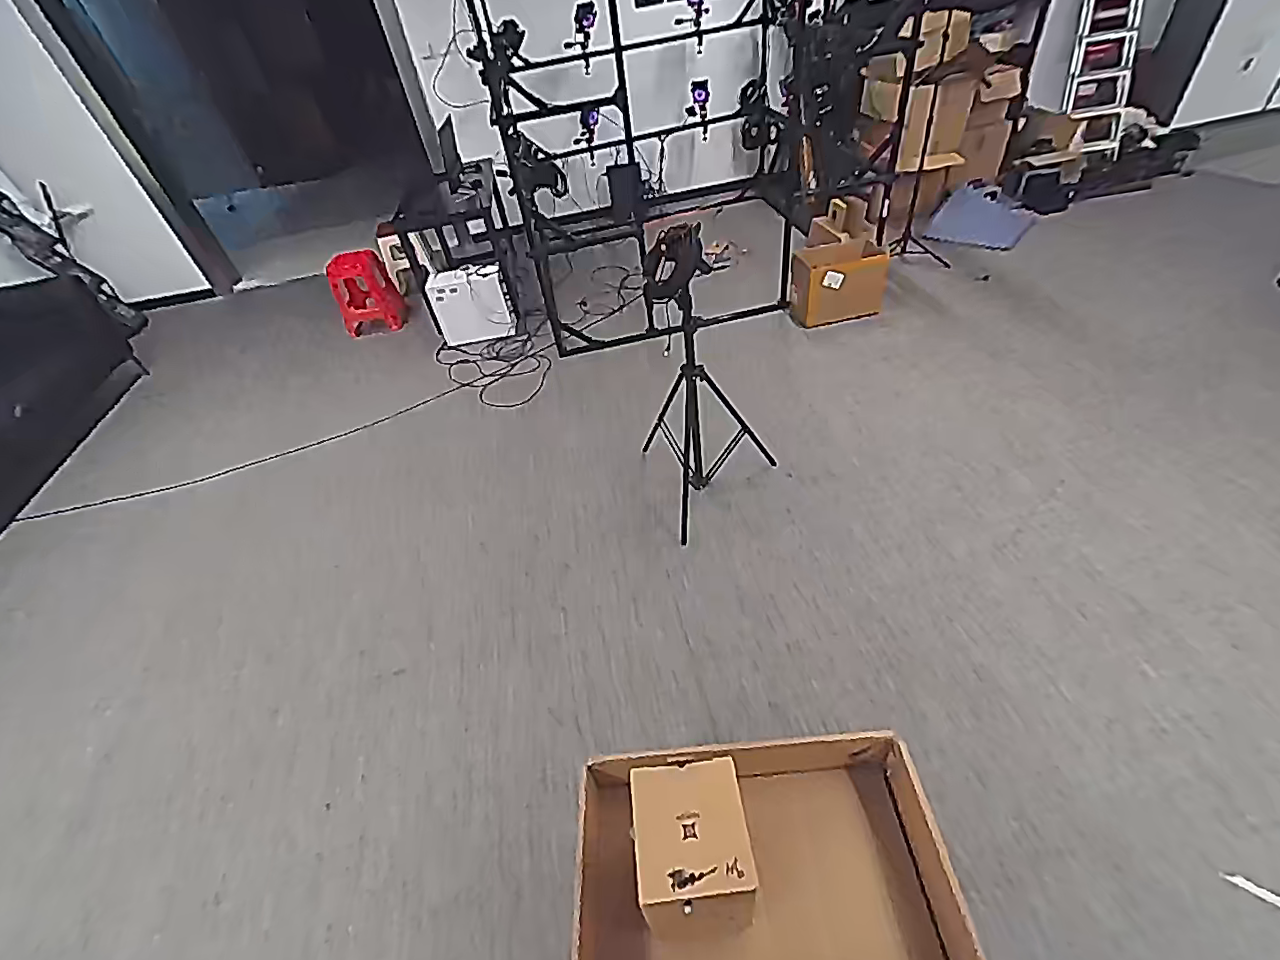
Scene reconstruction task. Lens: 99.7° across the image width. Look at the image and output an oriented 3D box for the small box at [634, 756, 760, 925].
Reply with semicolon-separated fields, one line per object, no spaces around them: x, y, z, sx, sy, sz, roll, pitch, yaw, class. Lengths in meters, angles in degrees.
0.082;0.562;0.844;0.168;0.176;0.179;-7;42;0;small box
